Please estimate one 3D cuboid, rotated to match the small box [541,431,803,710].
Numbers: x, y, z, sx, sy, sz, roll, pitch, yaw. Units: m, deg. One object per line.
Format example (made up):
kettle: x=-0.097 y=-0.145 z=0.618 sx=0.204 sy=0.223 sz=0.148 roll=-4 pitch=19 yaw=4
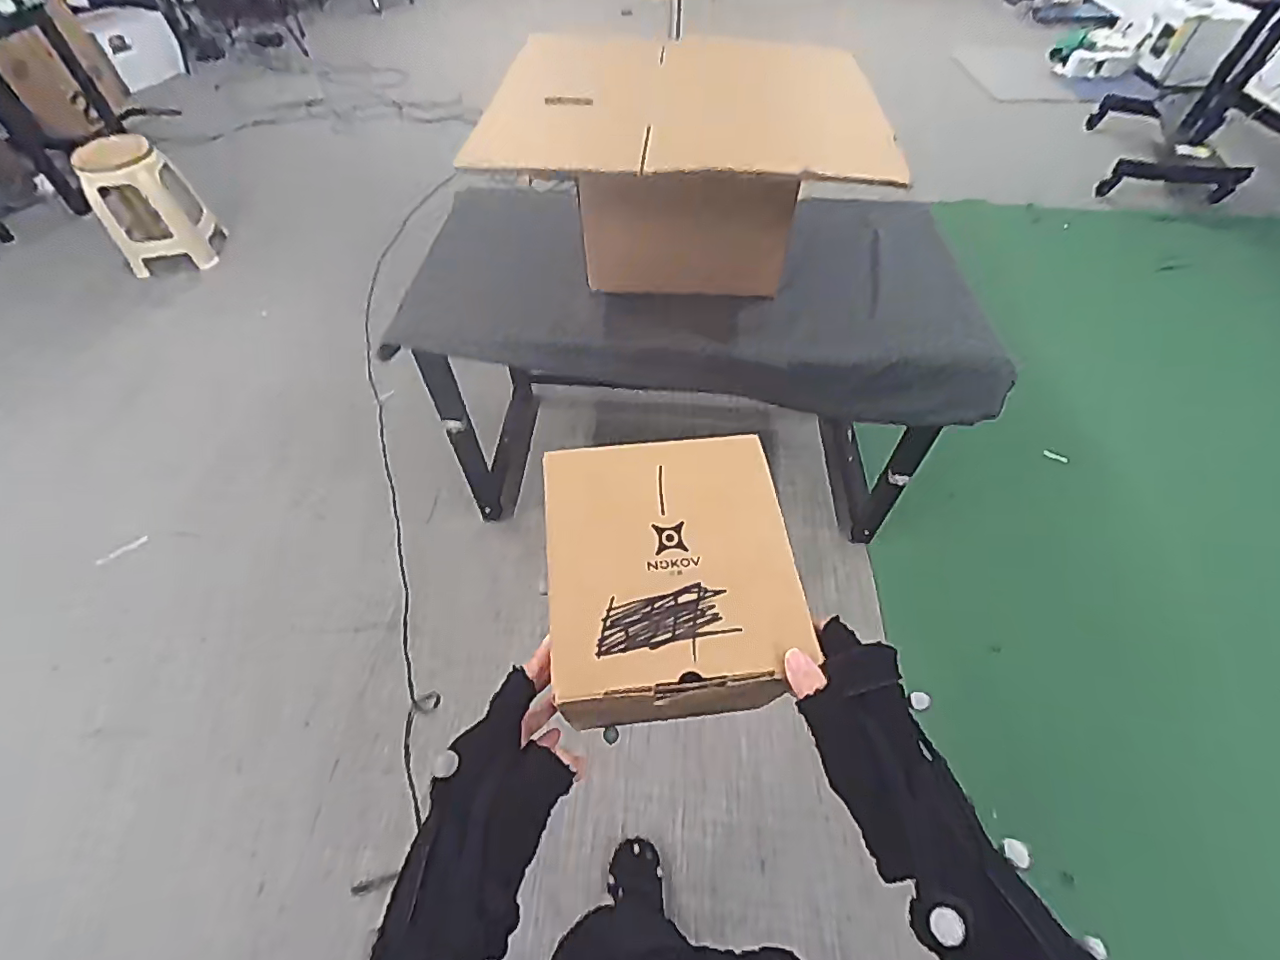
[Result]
small box: x=0.013 y=0.083 z=0.442 sx=0.168 sy=0.176 sz=0.179 roll=-5 pitch=59 yaw=-5
